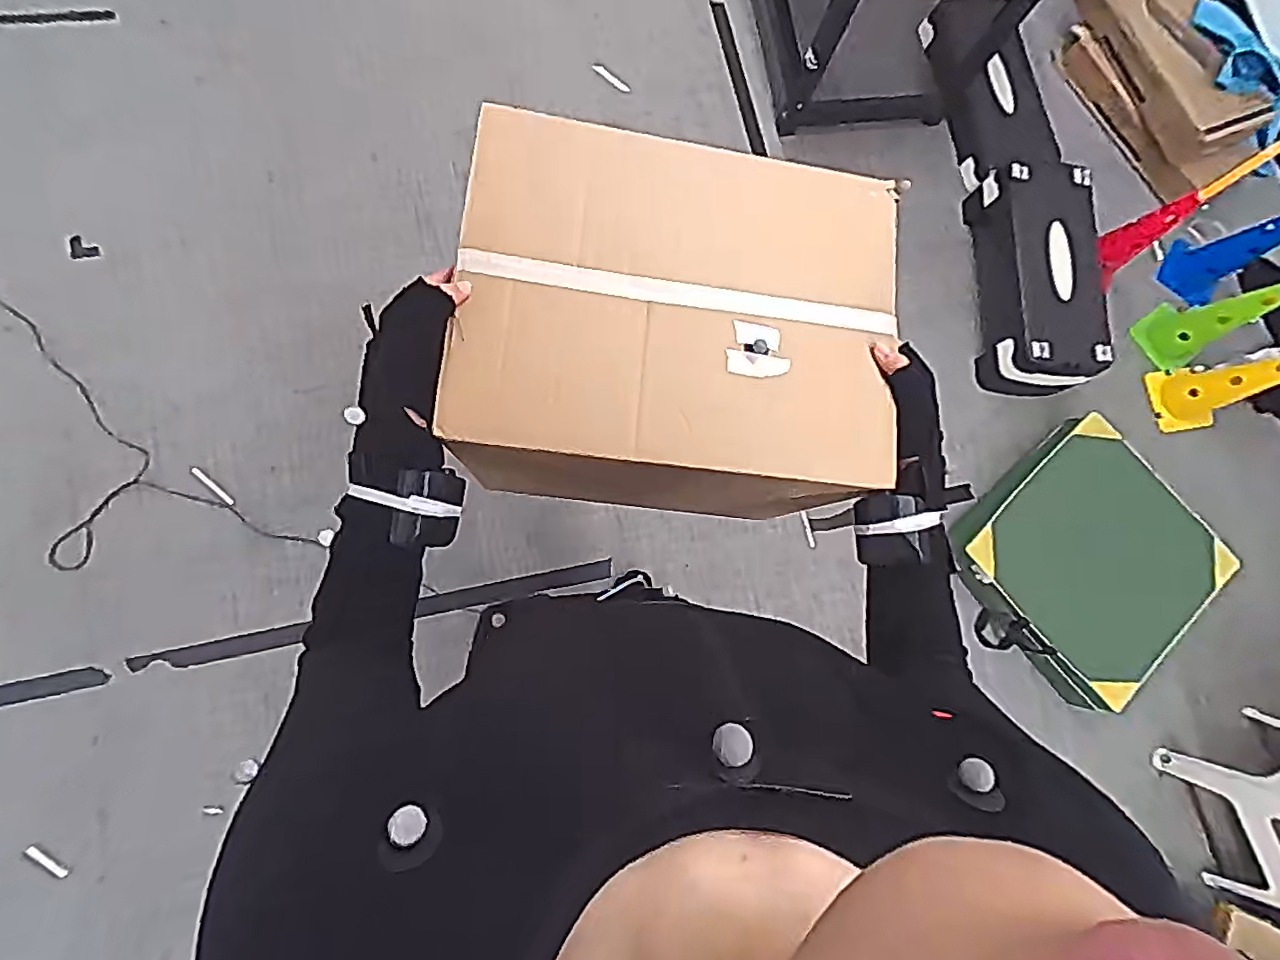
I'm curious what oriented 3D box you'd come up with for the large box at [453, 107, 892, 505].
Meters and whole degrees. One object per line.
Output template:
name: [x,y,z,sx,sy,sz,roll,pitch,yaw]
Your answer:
large box: [0.023,-0.154,0.646,0.408,0.320,0.320,7,81,-8]
